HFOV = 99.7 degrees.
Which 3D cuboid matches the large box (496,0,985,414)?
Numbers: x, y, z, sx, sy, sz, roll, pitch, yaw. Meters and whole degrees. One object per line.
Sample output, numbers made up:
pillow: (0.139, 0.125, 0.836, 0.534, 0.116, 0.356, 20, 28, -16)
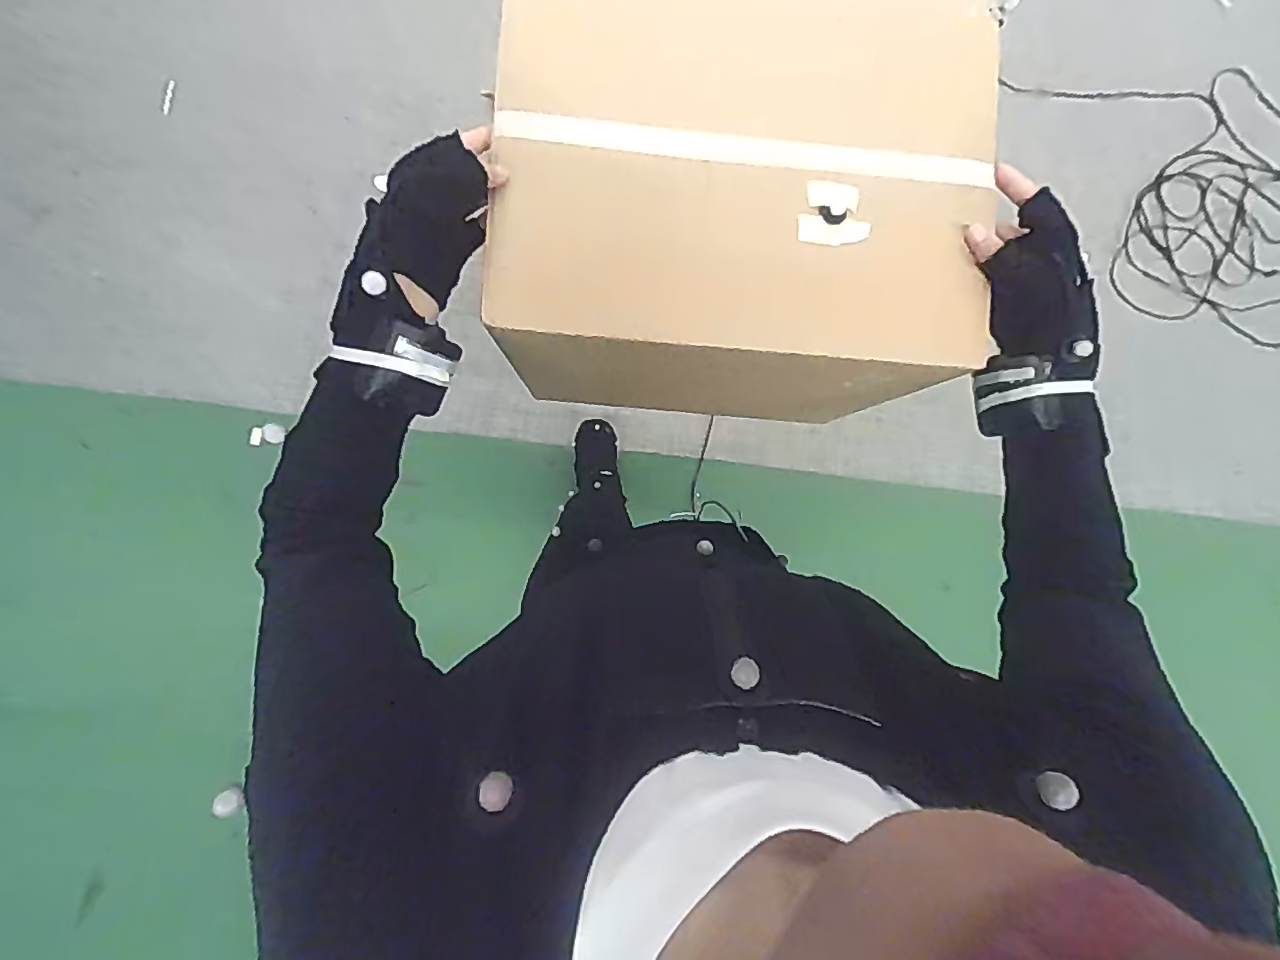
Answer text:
large box: (0.079, -0.258, 0.593, 0.408, 0.320, 0.320, 4, 88, -4)
